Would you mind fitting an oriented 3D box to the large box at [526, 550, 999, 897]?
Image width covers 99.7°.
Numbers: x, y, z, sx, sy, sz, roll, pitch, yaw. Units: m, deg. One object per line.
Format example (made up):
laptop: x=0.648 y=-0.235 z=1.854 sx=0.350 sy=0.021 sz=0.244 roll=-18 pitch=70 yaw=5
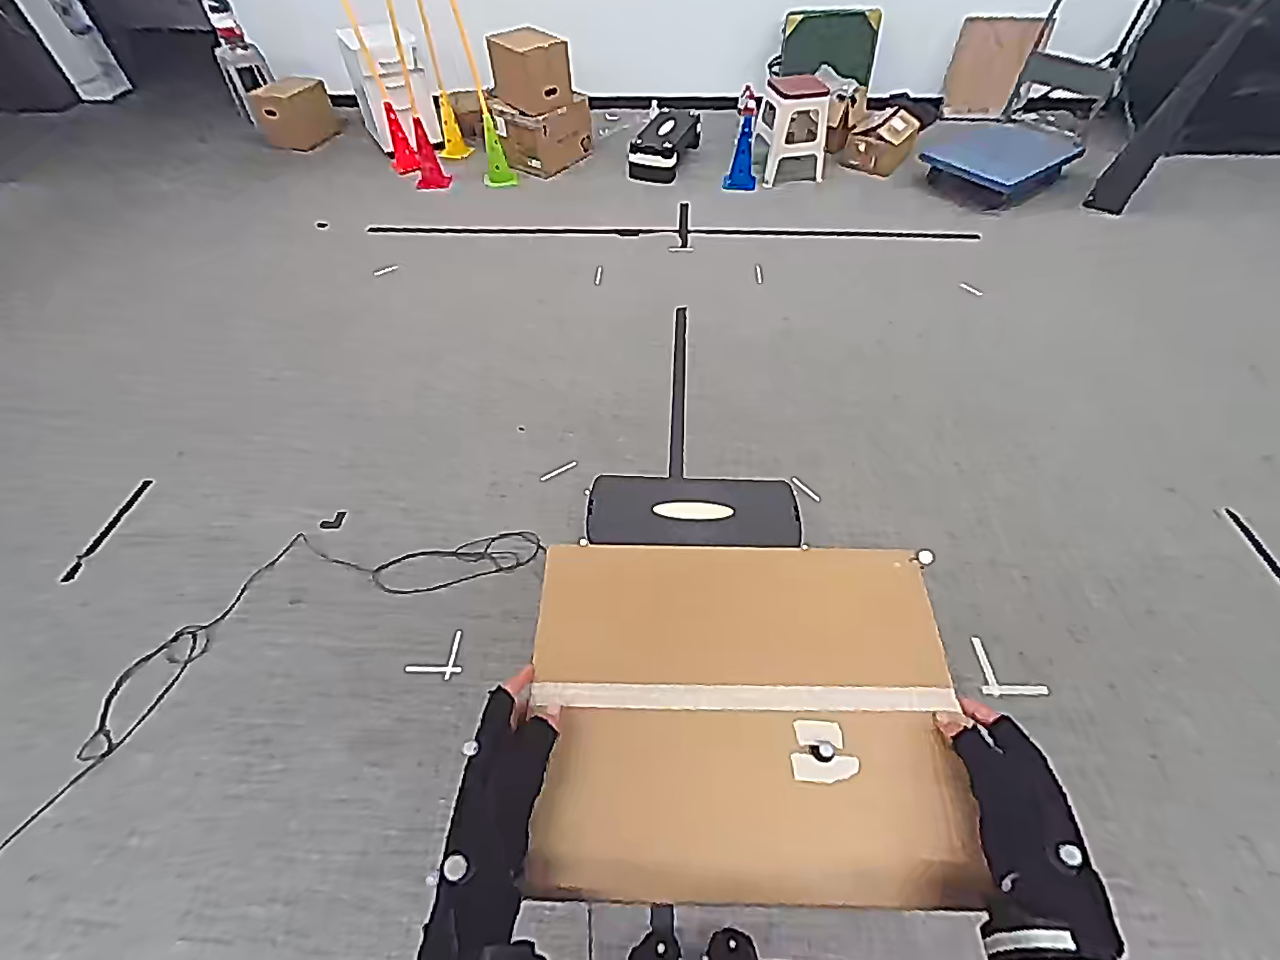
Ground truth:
large box: x=0.100 y=0.289 z=0.651 sx=0.408 sy=0.320 sz=0.320 roll=1 pitch=58 yaw=0
